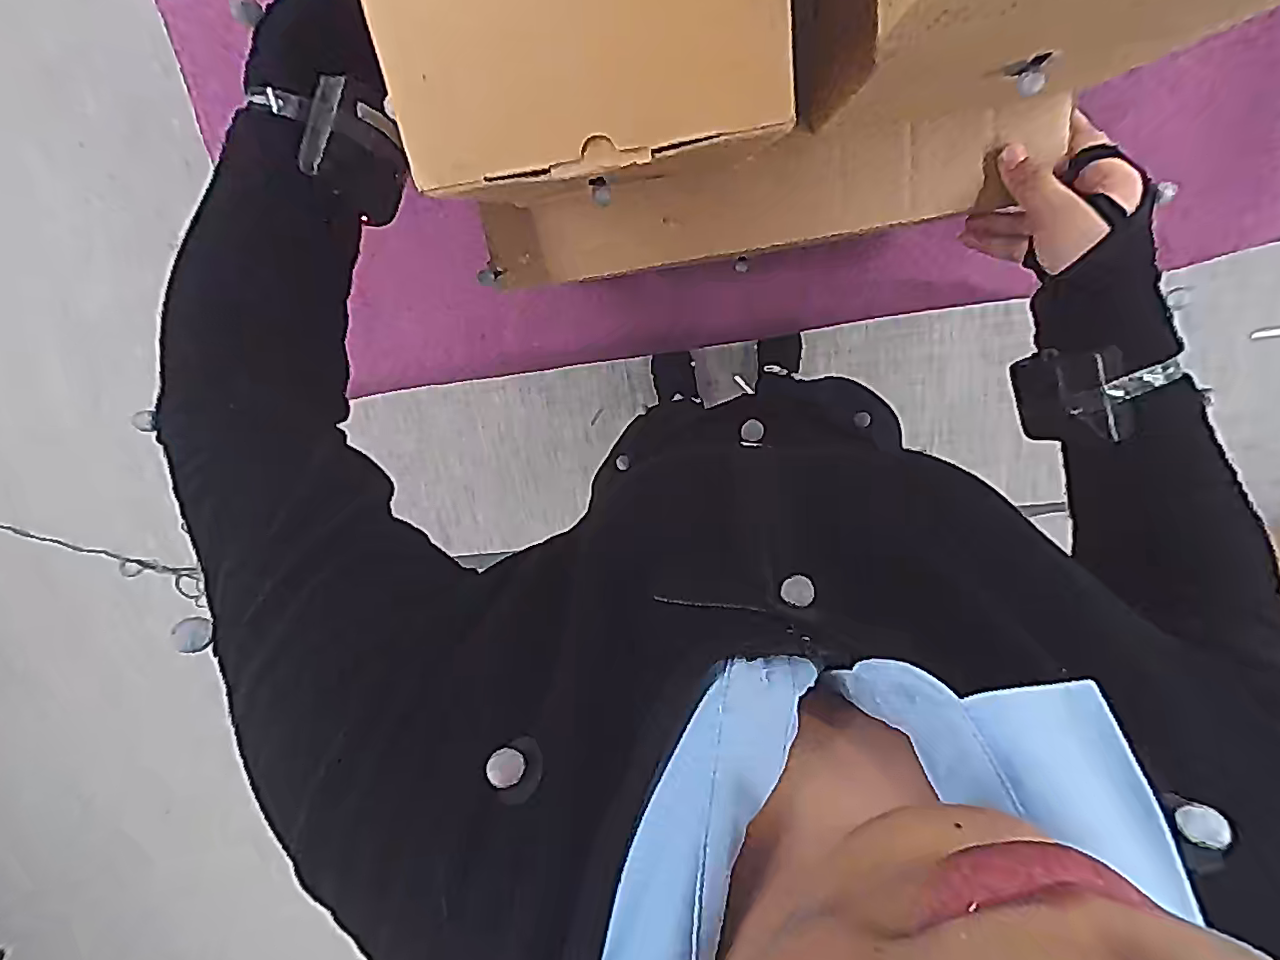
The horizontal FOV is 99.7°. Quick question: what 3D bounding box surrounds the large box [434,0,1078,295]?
[{"bbox_3d":[0.078,-0.365,0.475,0.408,0.320,0.320,-7,109,8],"label":"large box"}]
